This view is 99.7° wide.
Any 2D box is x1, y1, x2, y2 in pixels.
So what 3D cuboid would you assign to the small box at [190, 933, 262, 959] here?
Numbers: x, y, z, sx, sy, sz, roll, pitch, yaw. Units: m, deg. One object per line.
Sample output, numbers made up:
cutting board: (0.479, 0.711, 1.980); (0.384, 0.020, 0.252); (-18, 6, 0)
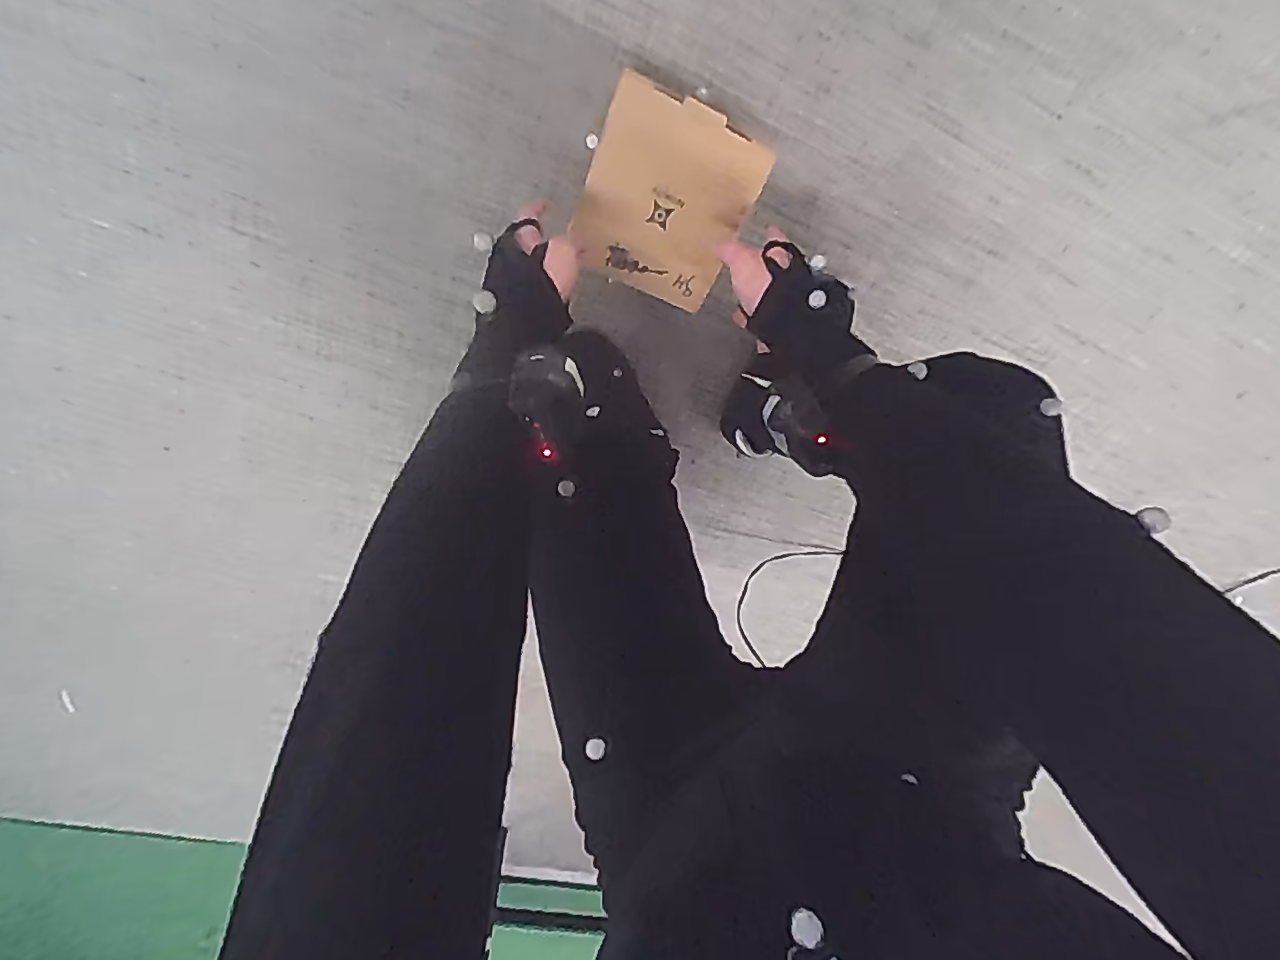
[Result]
small box: (-1.268, 1.513, 1.623); (0.168, 0.176, 0.179); (-47, -25, -28)
